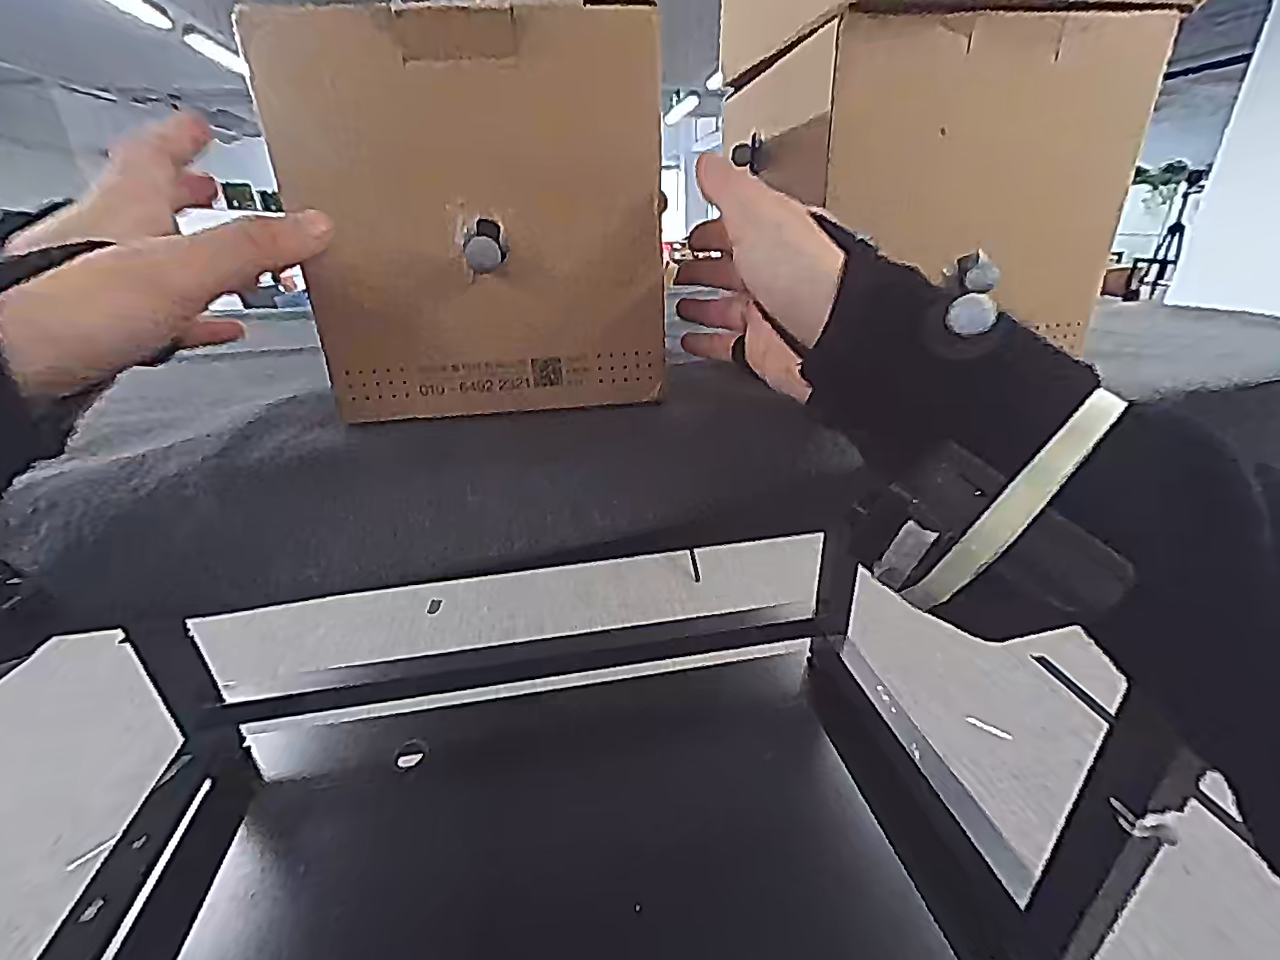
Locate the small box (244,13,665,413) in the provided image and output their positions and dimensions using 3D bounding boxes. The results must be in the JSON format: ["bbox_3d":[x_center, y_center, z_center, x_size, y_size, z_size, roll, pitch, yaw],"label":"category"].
[{"bbox_3d":[-0.078,-0.141,0.322,0.168,0.176,0.179,-5,25,-5],"label":"small box"}]

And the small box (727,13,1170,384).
[{"bbox_3d":[0.156,-0.164,0.348,0.168,0.176,0.179,-7,25,-6],"label":"small box"}]

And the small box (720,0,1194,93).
[{"bbox_3d":[0.152,-0.311,0.268,0.179,0.176,0.168,-7,25,-11],"label":"small box"}]
